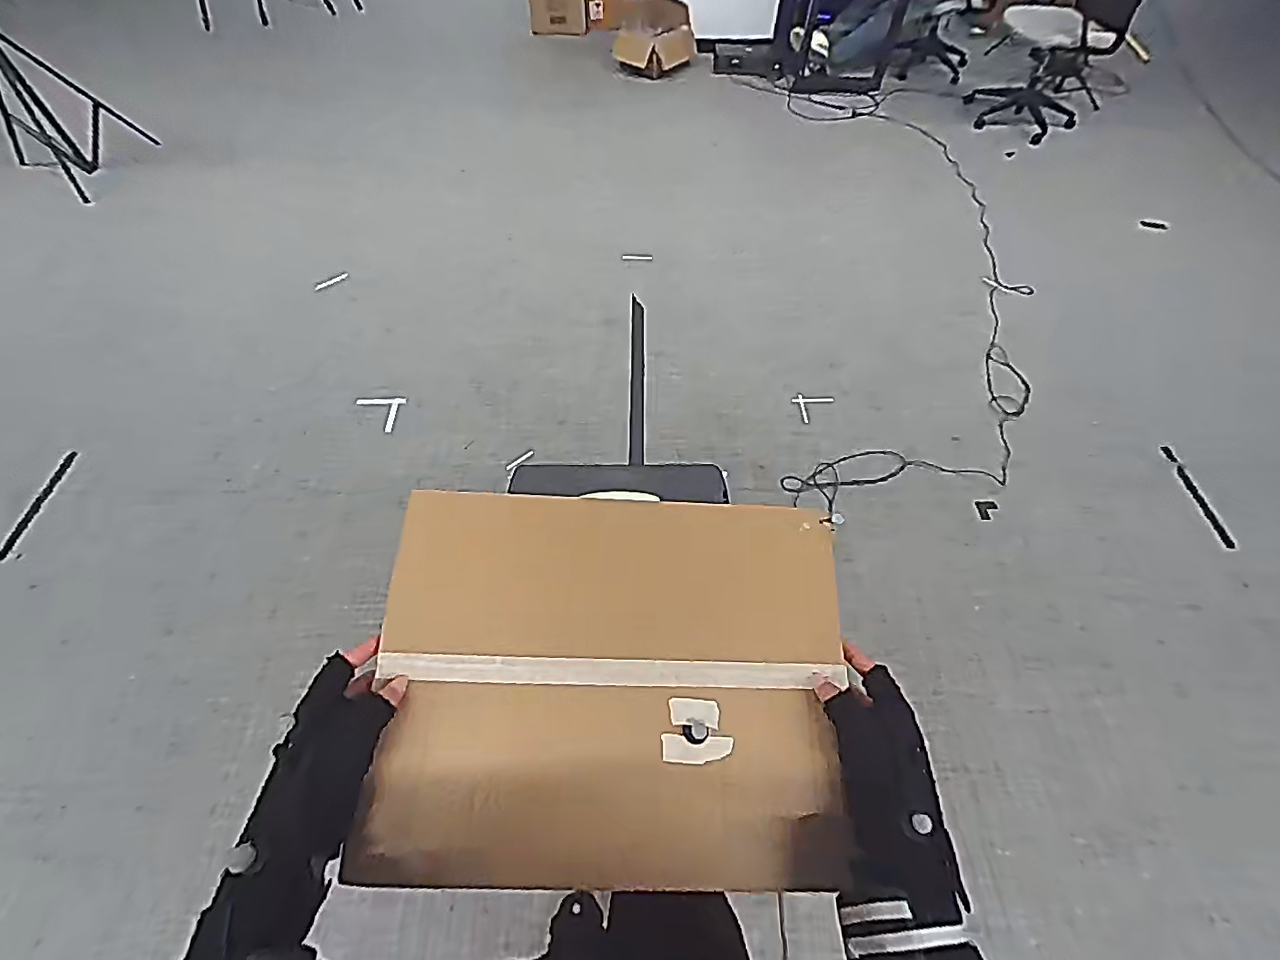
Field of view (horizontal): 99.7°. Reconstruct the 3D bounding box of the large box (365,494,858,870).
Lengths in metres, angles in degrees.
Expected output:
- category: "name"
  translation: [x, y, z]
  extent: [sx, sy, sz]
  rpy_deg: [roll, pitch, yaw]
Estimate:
- category: "large box"
  translation: [-0.028, 0.218, 0.621]
  extent: [0.408, 0.320, 0.320]
  rpy_deg: [3, 69, -4]
